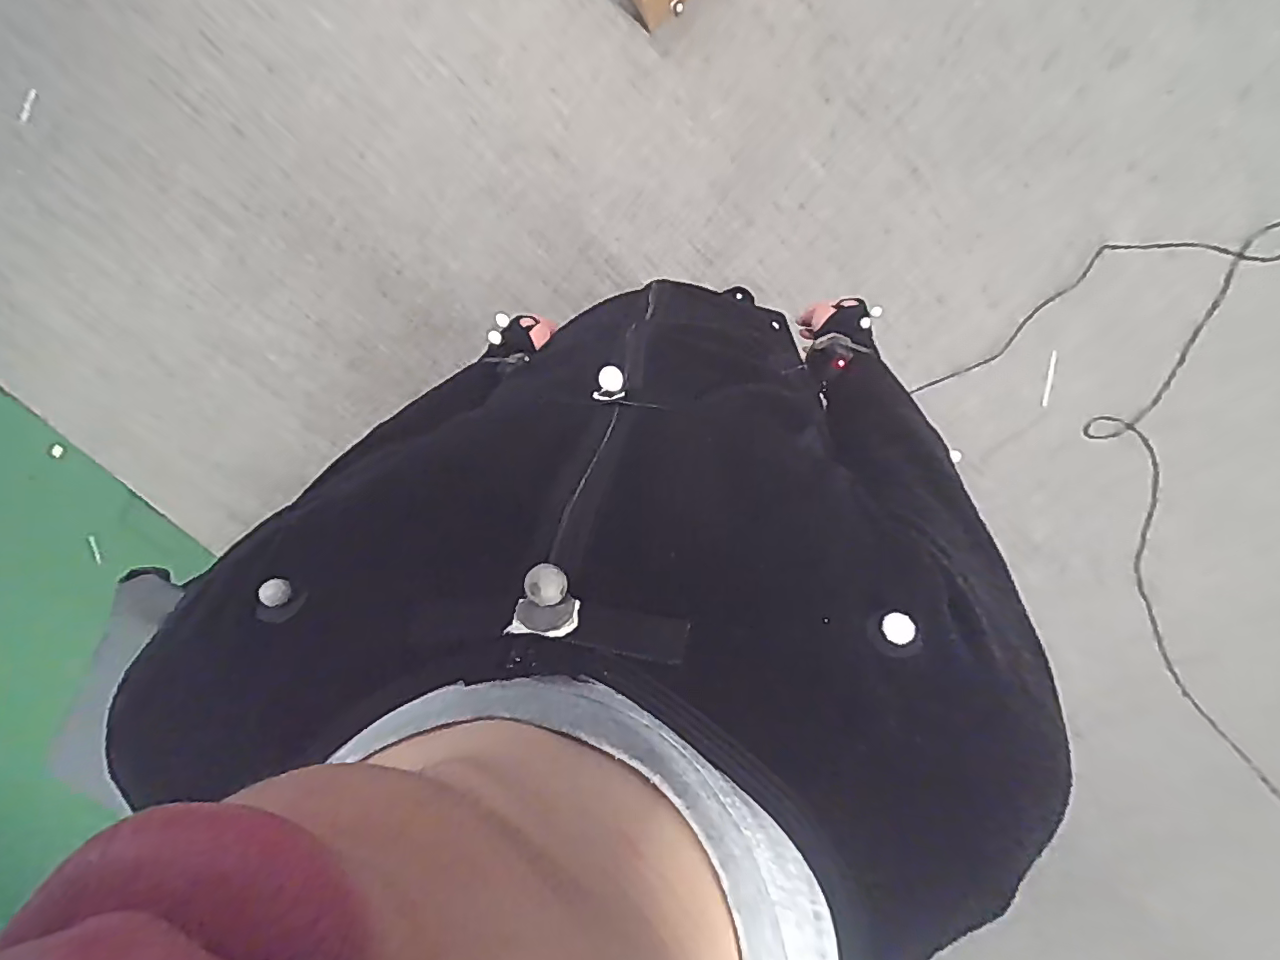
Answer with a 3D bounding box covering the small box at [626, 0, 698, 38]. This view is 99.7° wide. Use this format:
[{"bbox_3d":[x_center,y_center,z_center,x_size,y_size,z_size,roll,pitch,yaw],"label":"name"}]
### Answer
[{"bbox_3d":[0.030,-1.092,1.132,0.168,0.176,0.179,-33,104,19],"label":"small box"}]
